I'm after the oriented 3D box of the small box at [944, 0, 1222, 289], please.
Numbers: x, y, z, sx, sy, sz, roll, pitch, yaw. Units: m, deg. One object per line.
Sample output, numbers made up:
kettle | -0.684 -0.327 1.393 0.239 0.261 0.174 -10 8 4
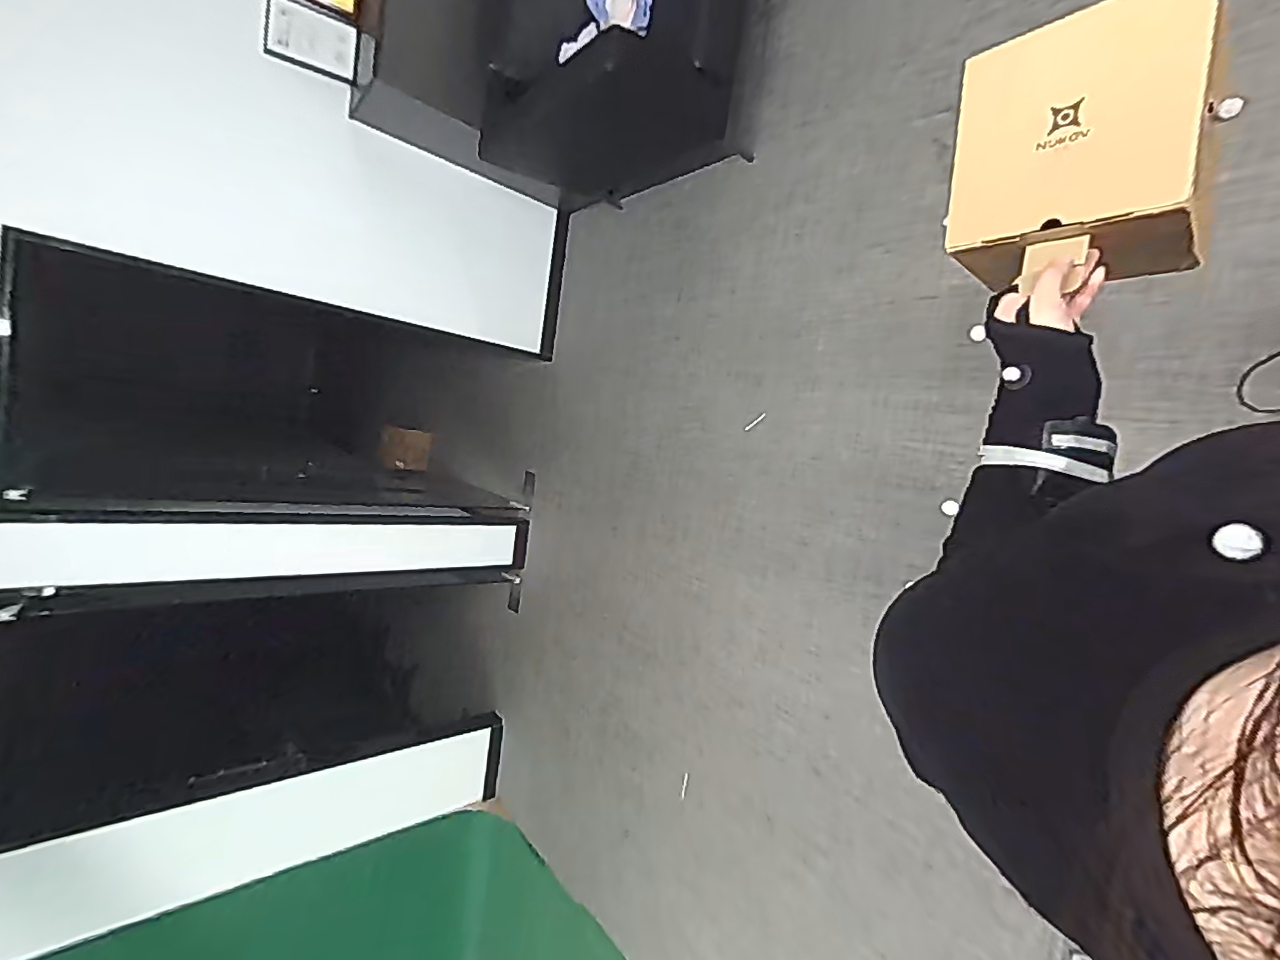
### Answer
small box | 0.407 -0.295 0.502 0.168 0.176 0.179 9 97 47
